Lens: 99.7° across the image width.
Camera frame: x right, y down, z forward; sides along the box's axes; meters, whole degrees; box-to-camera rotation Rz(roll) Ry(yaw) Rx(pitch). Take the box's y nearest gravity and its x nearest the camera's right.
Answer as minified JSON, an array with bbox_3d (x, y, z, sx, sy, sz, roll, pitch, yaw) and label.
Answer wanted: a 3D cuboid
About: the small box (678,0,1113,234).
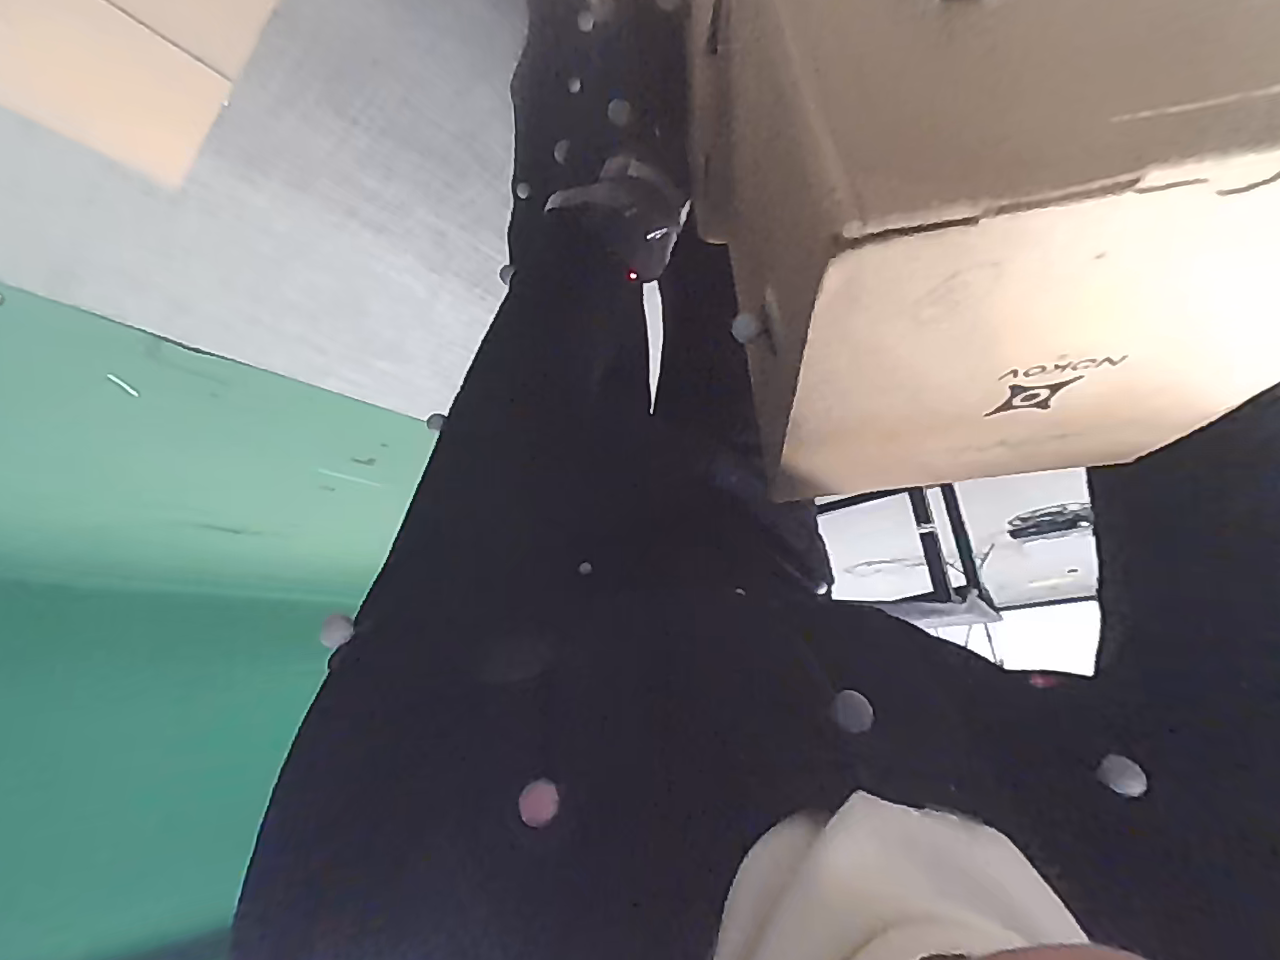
[{"bbox_3d":[0.109,-0.262,0.277,0.179,0.176,0.168,-7,156,4],"label":"small box"}]
